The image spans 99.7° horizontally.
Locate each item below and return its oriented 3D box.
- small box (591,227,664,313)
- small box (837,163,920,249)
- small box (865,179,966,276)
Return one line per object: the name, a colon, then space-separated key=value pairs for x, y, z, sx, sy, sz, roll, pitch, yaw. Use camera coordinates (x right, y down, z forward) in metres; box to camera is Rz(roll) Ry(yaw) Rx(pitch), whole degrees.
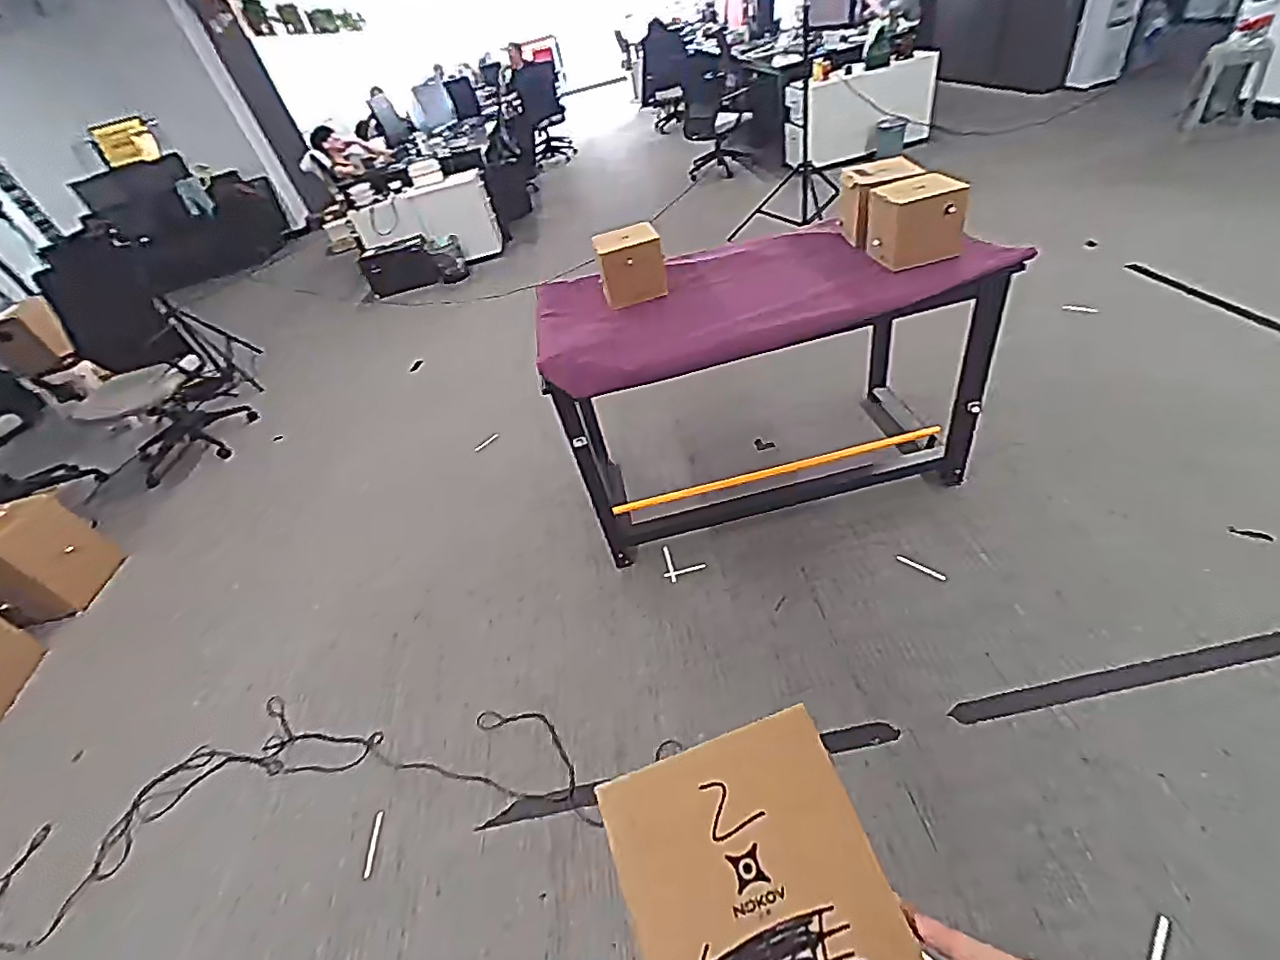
small box: x=-0.032 y=-0.616 z=1.590 sx=0.179 sy=0.176 sz=0.168 roll=-16 pitch=41 yaw=-1
small box: x=0.676 y=-0.783 z=1.556 sx=0.179 sy=0.176 sz=0.168 roll=-9 pitch=43 yaw=5
small box: x=0.705 y=-0.655 z=1.405 sx=0.179 sy=0.176 sz=0.168 roll=-14 pitch=39 yaw=3
